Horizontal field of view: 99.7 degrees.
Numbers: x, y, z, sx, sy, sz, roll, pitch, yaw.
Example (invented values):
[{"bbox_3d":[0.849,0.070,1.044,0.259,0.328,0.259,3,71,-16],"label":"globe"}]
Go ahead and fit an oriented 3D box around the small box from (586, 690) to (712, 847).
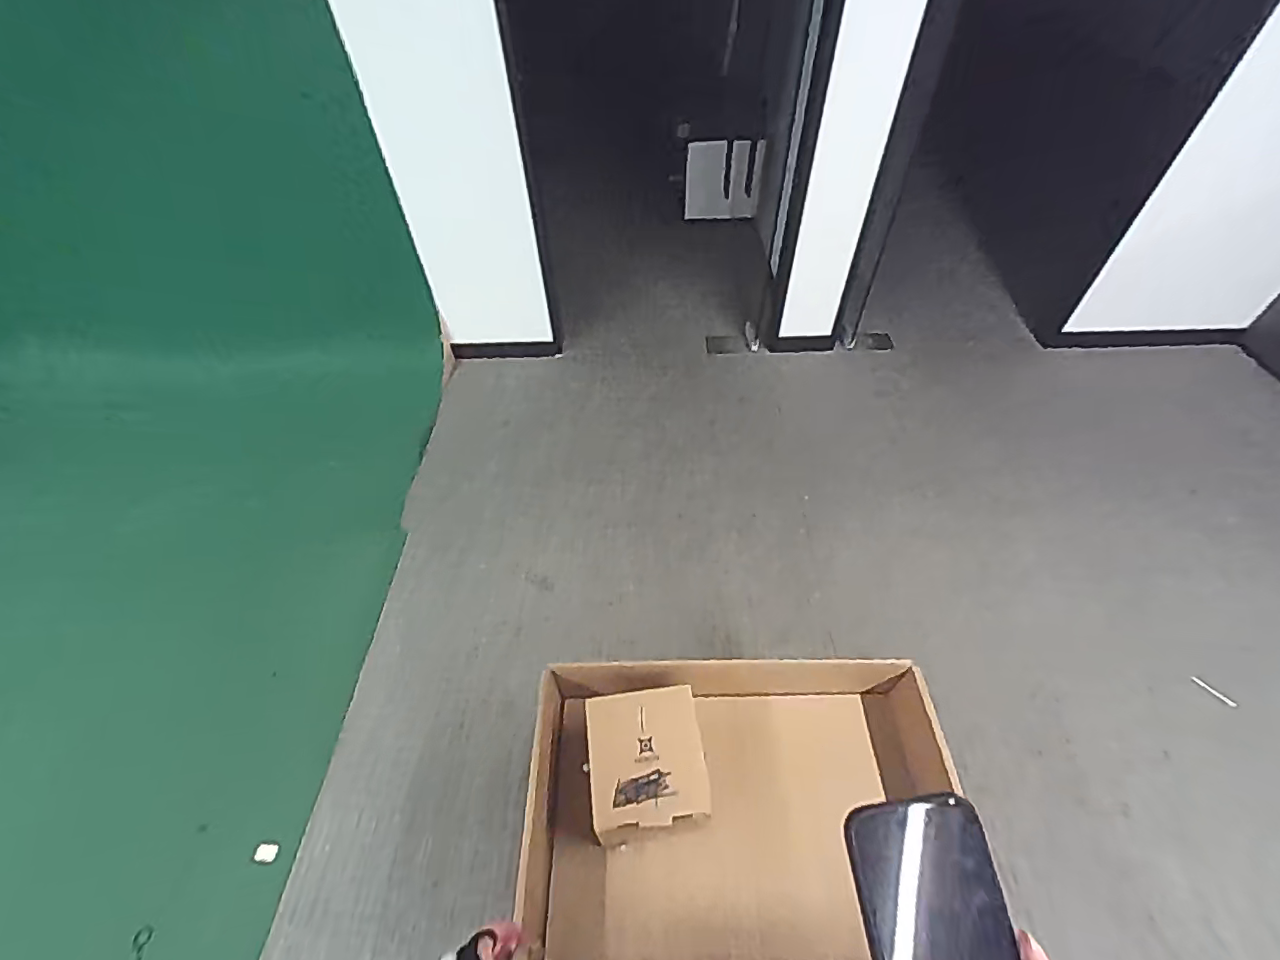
[{"bbox_3d":[0.012,0.448,0.832,0.168,0.176,0.179,-7,49,-4],"label":"small box"}]
